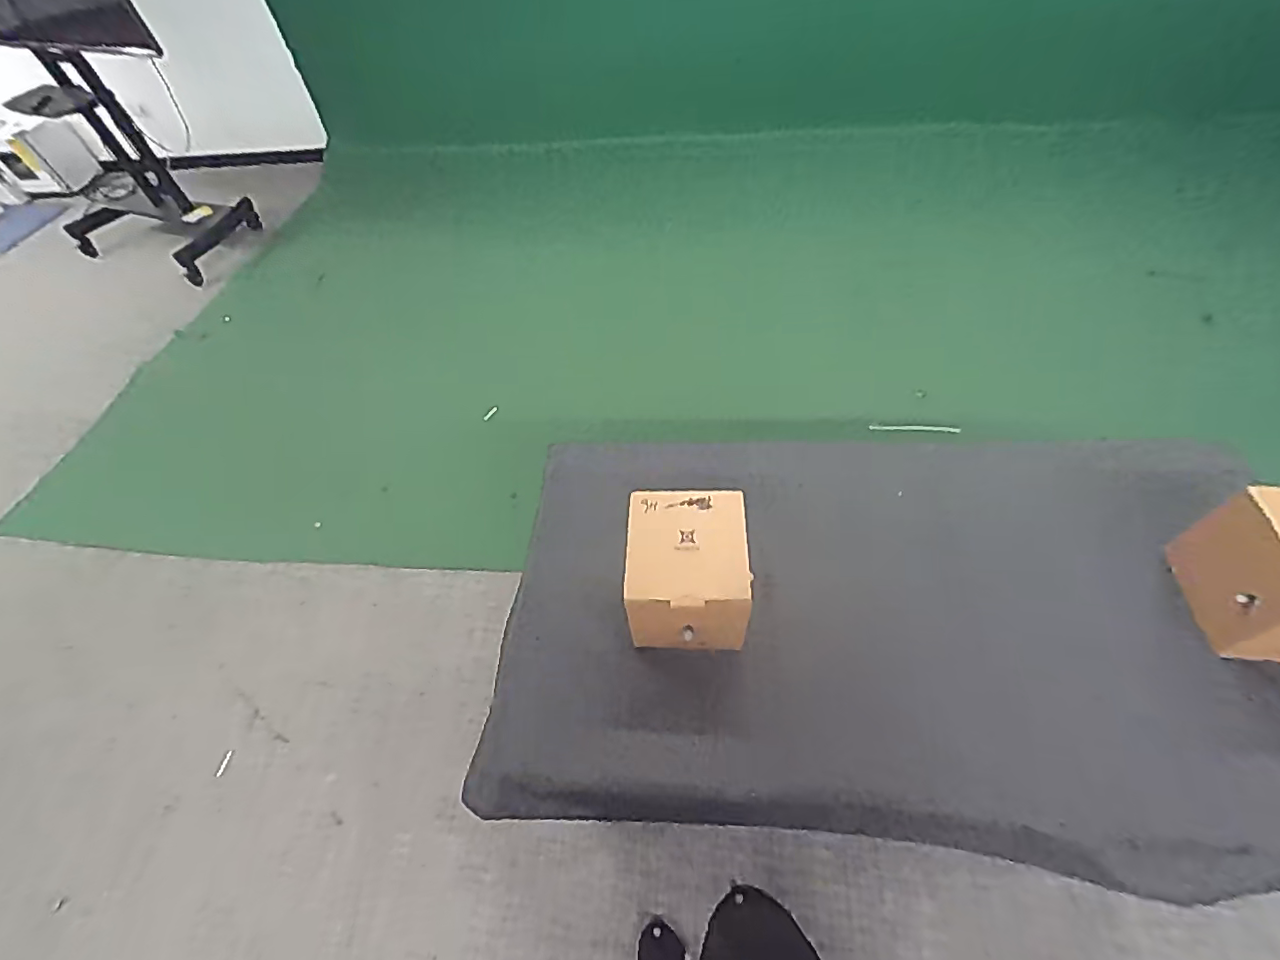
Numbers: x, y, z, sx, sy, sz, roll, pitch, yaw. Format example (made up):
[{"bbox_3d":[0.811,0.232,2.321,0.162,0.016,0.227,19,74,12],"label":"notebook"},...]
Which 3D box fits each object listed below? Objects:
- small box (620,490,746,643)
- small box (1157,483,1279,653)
[{"bbox_3d":[0.066,0.133,0.805,0.168,0.176,0.179,0,53,5],"label":"small box"},{"bbox_3d":[0.870,0.126,0.725,0.168,0.176,0.179,3,52,7],"label":"small box"}]
